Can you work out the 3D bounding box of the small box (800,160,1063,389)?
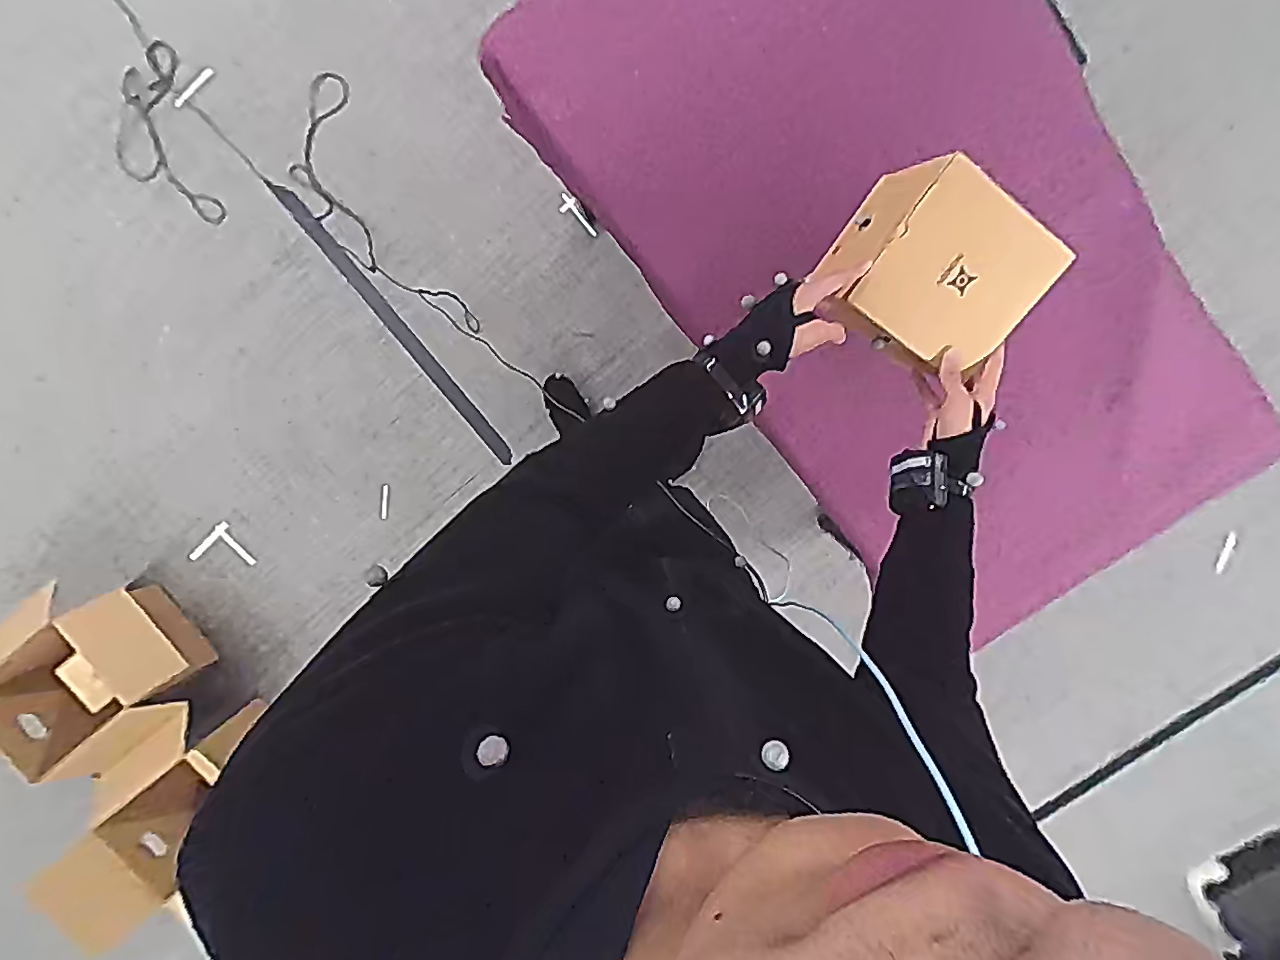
[{"bbox_3d":[0.323,-0.237,0.637,0.179,0.176,0.168,31,108,-11],"label":"small box"}]
